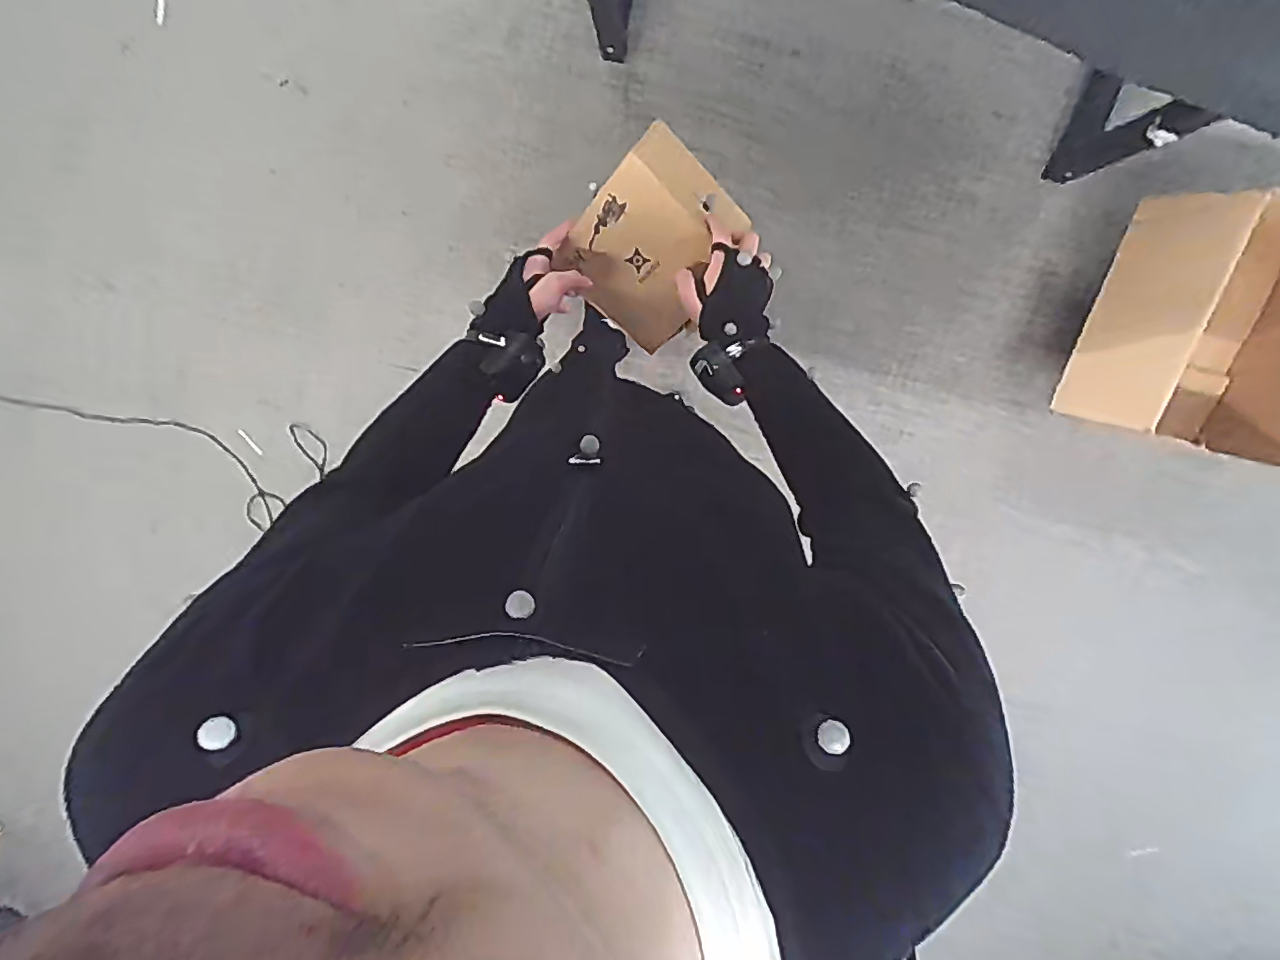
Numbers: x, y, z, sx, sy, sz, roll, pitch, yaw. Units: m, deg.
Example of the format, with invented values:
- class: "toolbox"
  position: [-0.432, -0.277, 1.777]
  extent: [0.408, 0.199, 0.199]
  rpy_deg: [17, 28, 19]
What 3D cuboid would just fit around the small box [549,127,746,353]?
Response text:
- class: "small box"
  position: [0.020, -0.304, 0.682]
  extent: [0.179, 0.176, 0.168]
  rpy_deg: [39, 129, -21]
